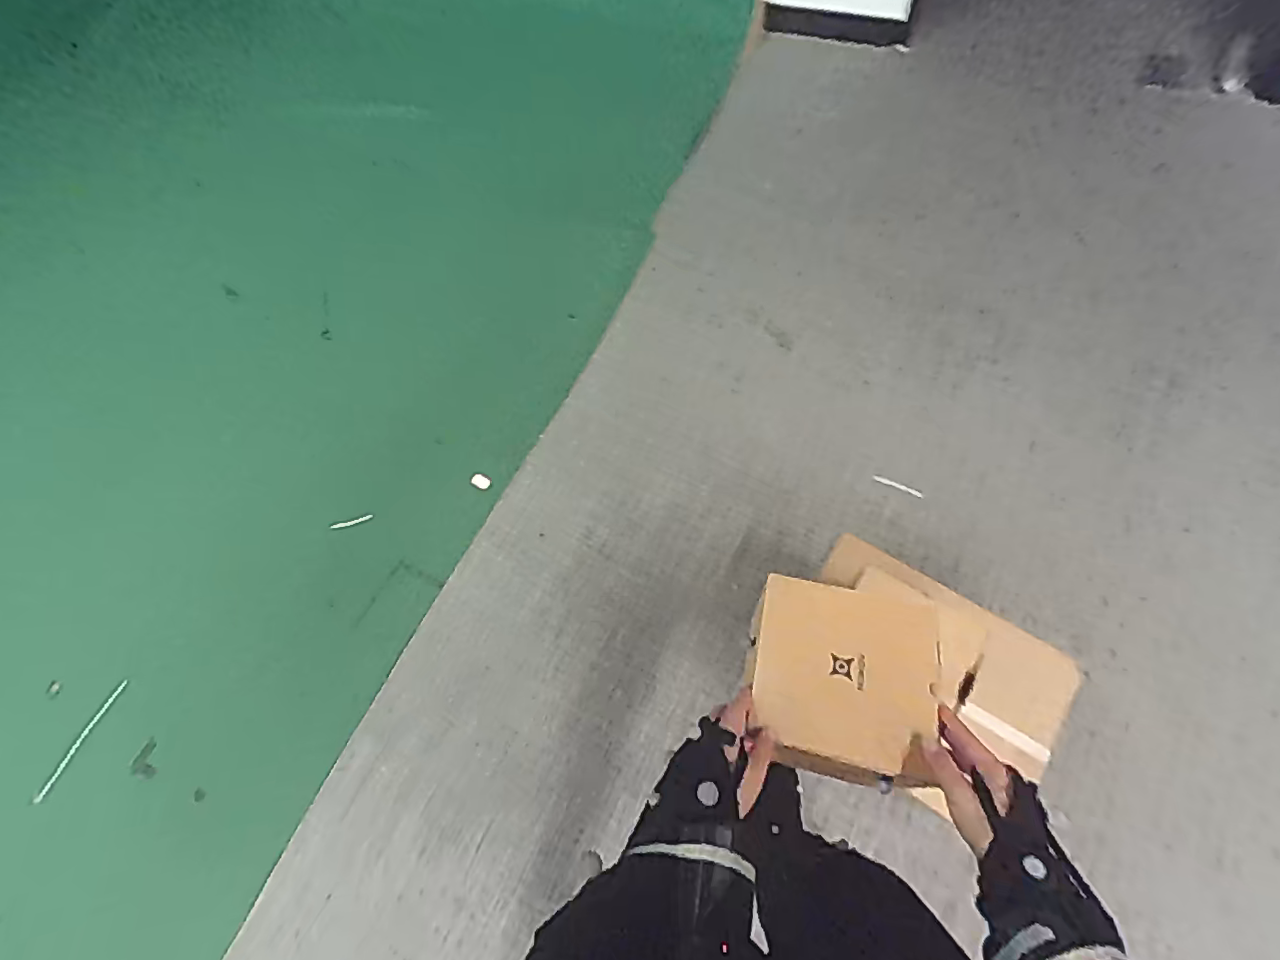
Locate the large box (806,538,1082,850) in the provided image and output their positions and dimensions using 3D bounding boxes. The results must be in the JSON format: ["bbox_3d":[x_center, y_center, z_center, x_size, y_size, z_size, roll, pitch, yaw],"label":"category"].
[{"bbox_3d":[0.456,0.365,0.997,0.408,0.320,0.320,31,78,17],"label":"large box"}]

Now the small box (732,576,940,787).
[{"bbox_3d":[0.202,0.226,0.593,0.179,0.176,0.168,10,60,10],"label":"small box"}]

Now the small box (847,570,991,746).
[{"bbox_3d":[0.358,0.257,0.790,0.179,0.176,0.168,30,76,19],"label":"small box"}]
